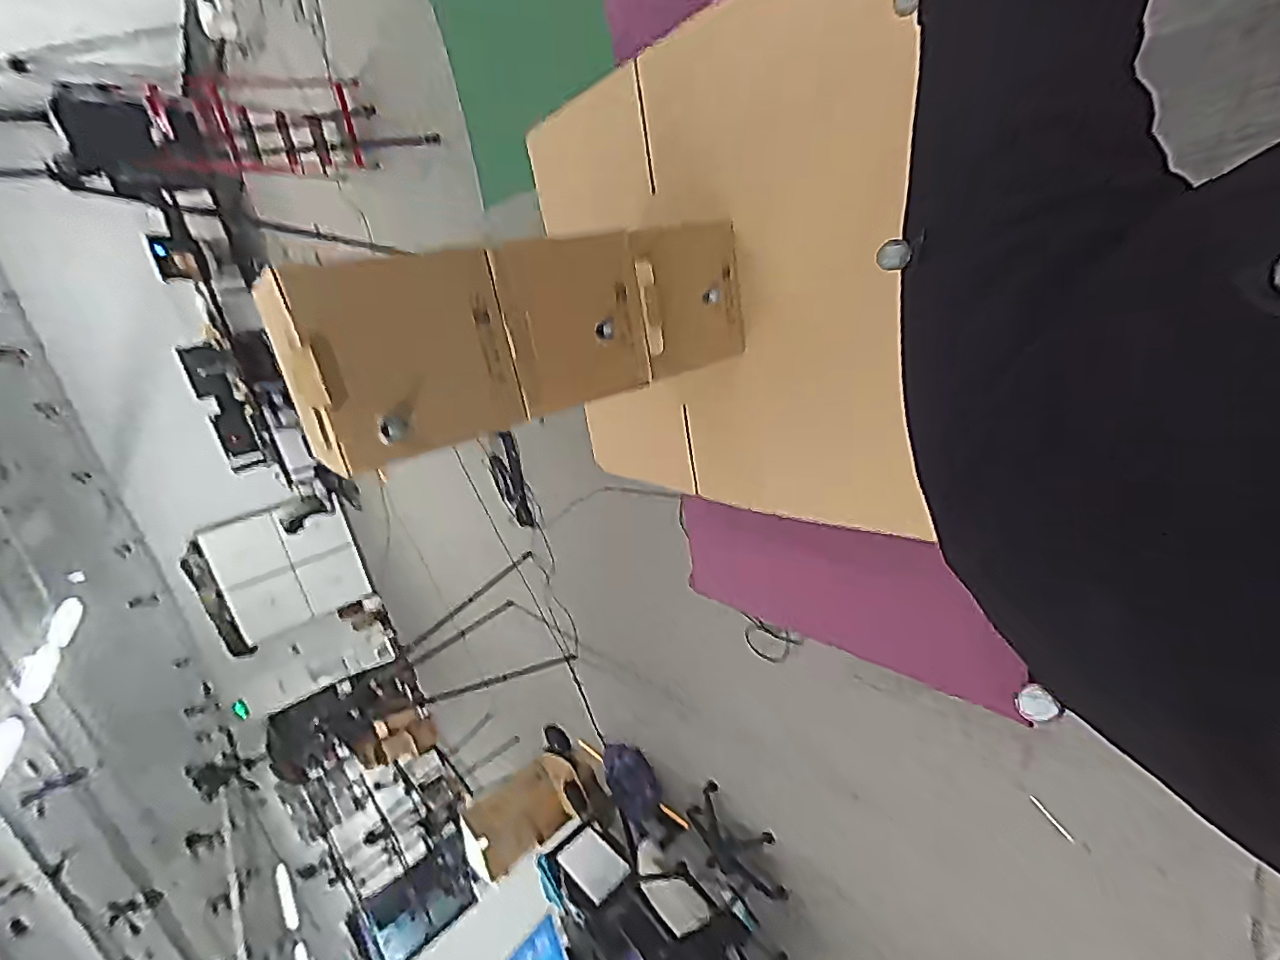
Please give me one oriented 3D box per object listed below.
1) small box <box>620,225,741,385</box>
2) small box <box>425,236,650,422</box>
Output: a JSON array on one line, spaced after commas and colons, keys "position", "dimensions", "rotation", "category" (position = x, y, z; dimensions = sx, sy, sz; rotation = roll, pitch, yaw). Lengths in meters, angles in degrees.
[{"position": [0.008, -0.226, 0.706], "dimensions": [0.179, 0.176, 0.168], "rotation": [13, 120, 48], "category": "small box"}, {"position": [-0.114, -0.169, 0.612], "dimensions": [0.179, 0.176, 0.168], "rotation": [11, 118, 49], "category": "small box"}]
